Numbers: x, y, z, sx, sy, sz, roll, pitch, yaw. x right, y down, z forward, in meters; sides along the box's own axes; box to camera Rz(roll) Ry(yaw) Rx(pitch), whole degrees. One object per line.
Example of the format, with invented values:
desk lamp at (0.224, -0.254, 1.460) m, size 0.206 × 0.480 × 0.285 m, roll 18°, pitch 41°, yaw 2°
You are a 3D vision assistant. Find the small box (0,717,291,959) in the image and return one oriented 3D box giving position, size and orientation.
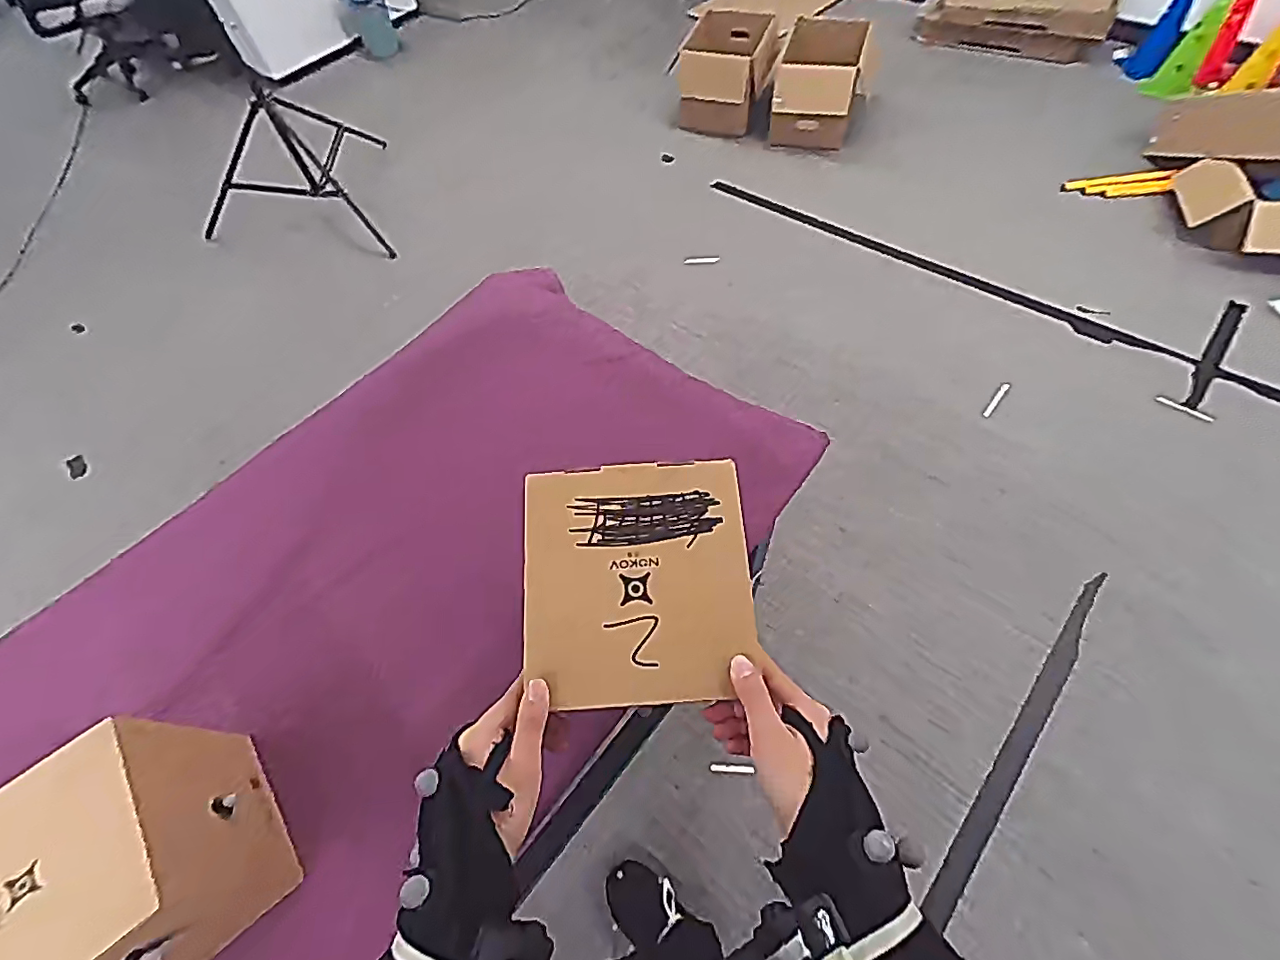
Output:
small box at (-0.440, 0.337, 0.461) m, size 0.179 × 0.176 × 0.168 m, roll -38°, pitch 62°, yaw -16°
